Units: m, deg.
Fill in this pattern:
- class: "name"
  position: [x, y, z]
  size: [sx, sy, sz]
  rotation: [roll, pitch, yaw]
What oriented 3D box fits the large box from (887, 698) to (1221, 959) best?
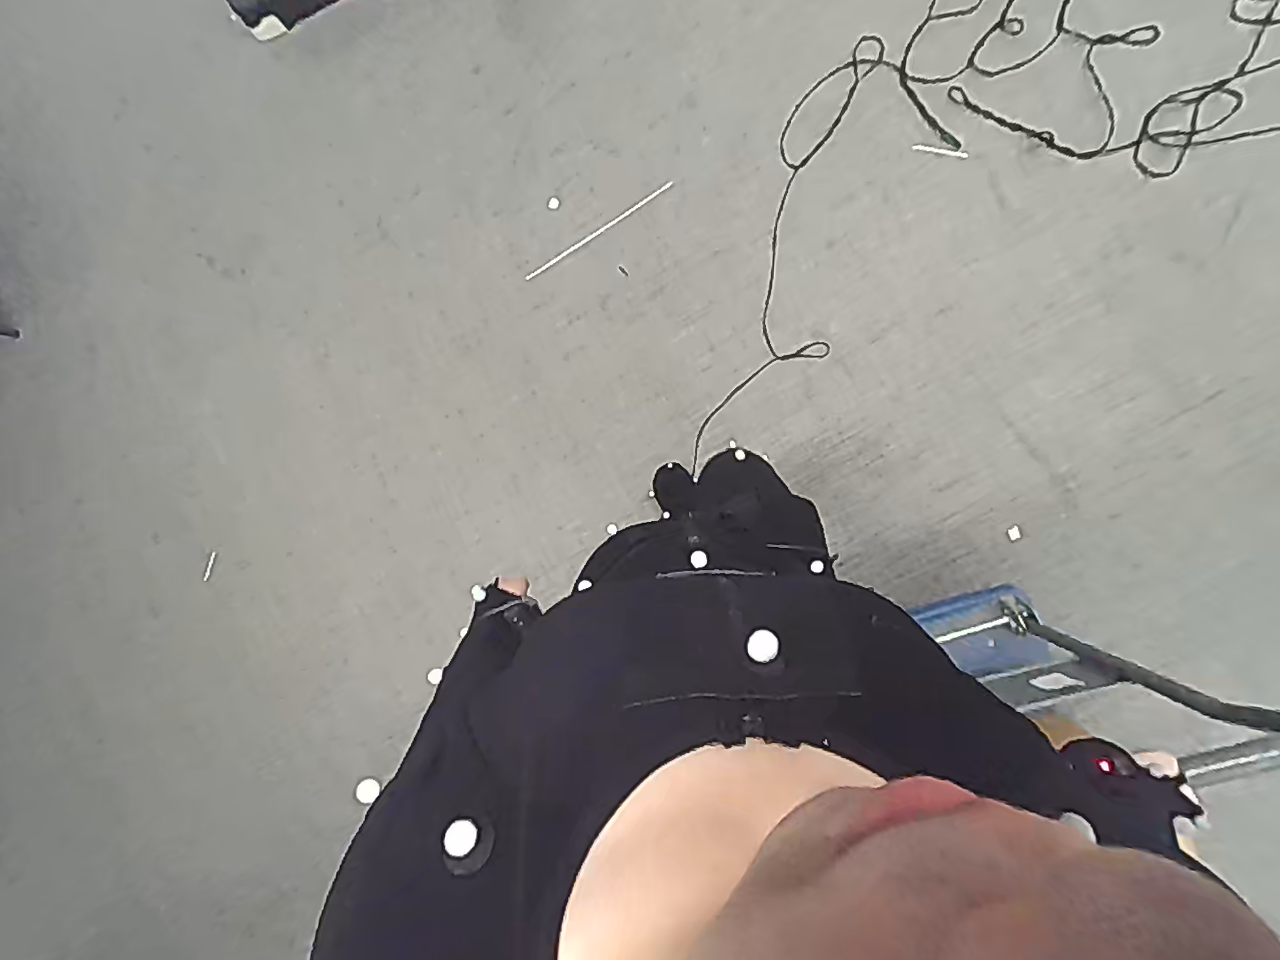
- class: "large box"
  position: [0.793, 0.699, 1.107]
  size: [0.408, 0.320, 0.320]
  rotation: [-18, 88, 8]
